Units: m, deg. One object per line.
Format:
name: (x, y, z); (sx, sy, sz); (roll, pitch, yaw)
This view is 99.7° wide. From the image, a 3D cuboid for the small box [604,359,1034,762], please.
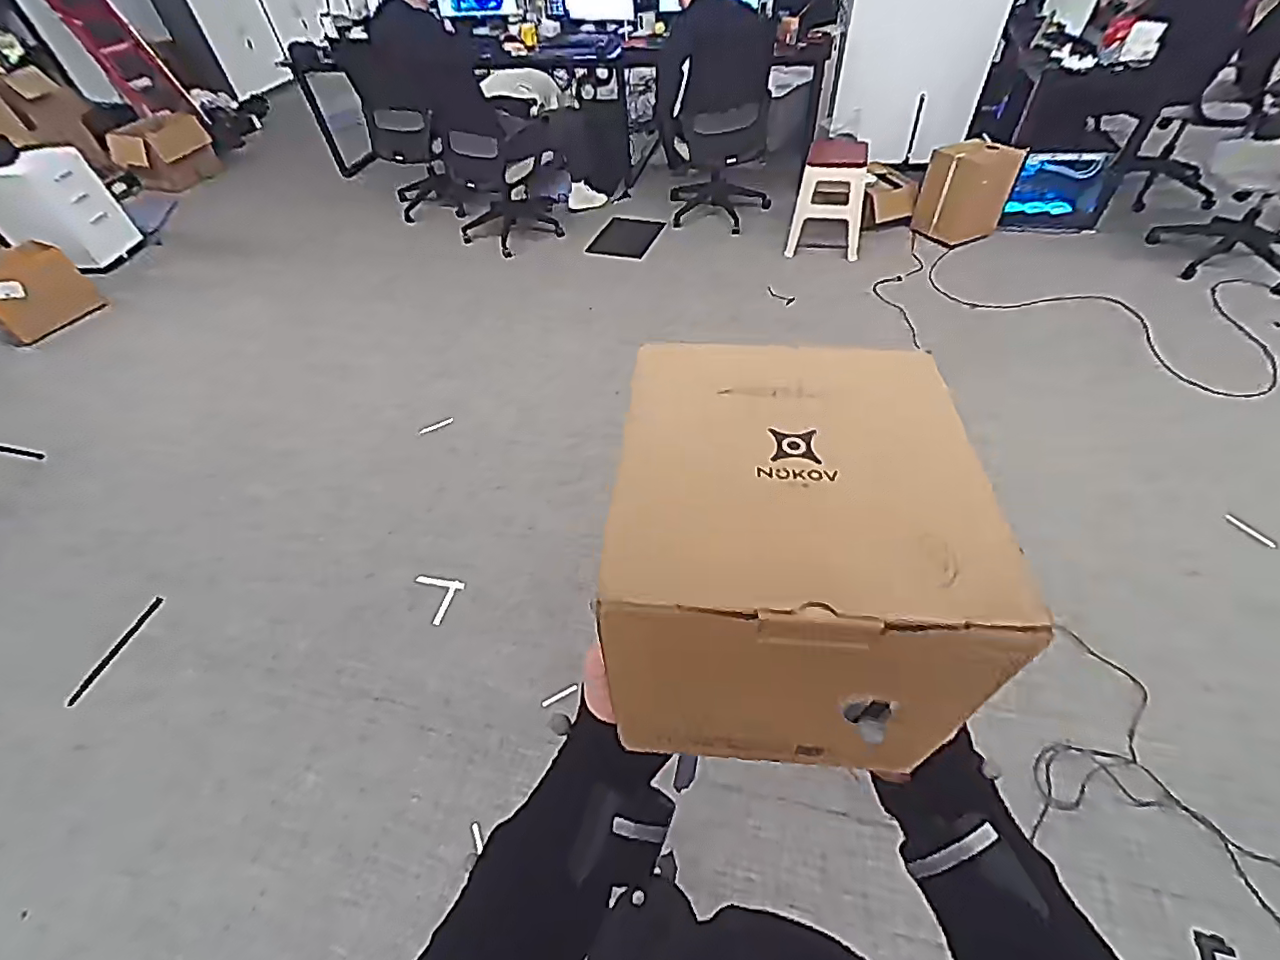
small box: (0.076, 0.049, 0.321); (0.168, 0.176, 0.179); (3, 47, 4)
